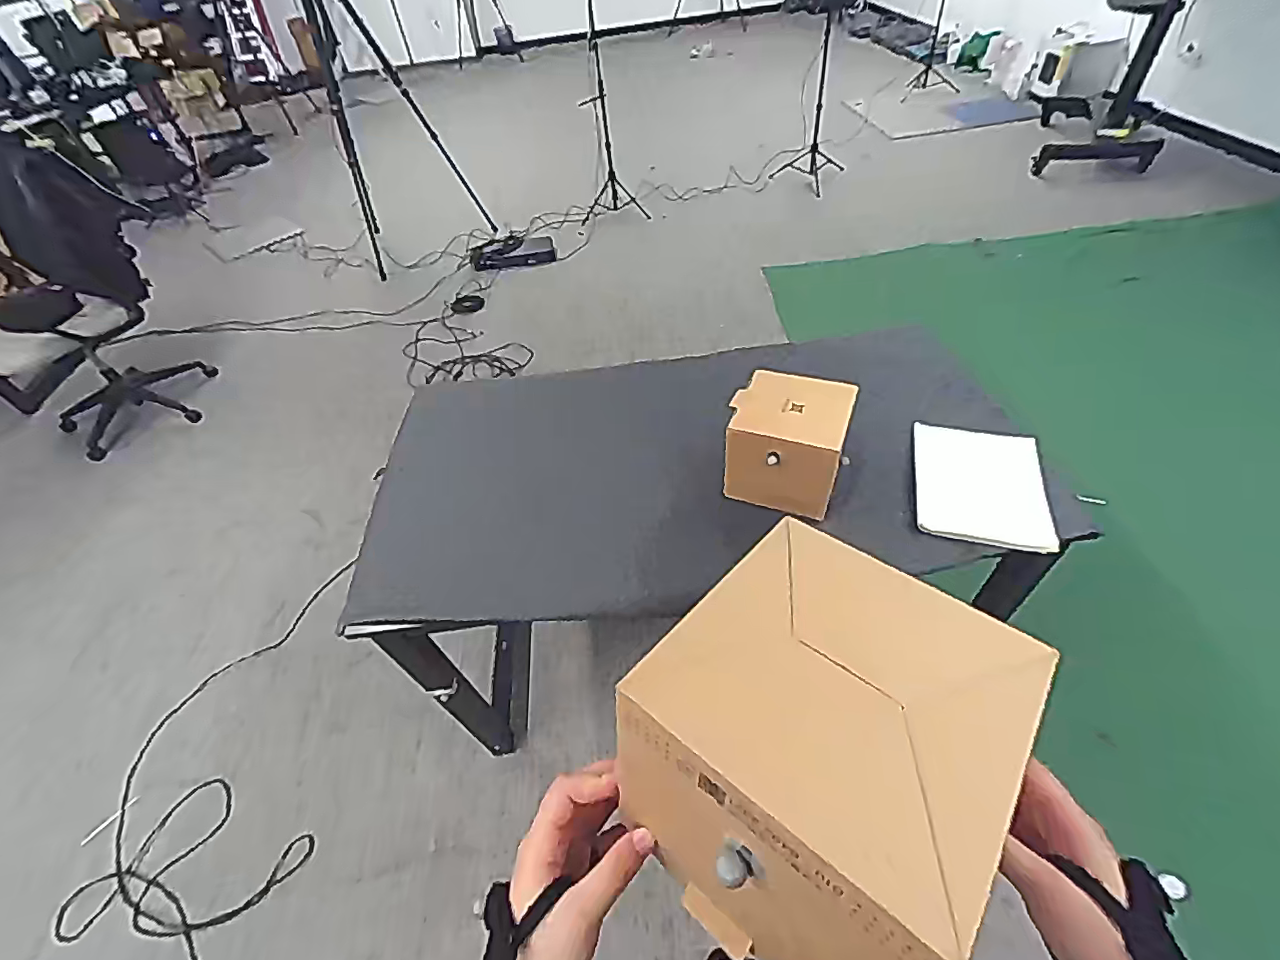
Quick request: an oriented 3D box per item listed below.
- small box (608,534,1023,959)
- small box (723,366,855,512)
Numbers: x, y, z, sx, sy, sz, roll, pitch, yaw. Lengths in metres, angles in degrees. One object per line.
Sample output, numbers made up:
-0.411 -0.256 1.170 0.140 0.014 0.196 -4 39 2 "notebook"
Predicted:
0.097 0.156 0.330 0.168 0.176 0.179 28 46 31 "small box"
0.250 -0.067 0.927 0.179 0.176 0.168 14 51 21 "small box"
